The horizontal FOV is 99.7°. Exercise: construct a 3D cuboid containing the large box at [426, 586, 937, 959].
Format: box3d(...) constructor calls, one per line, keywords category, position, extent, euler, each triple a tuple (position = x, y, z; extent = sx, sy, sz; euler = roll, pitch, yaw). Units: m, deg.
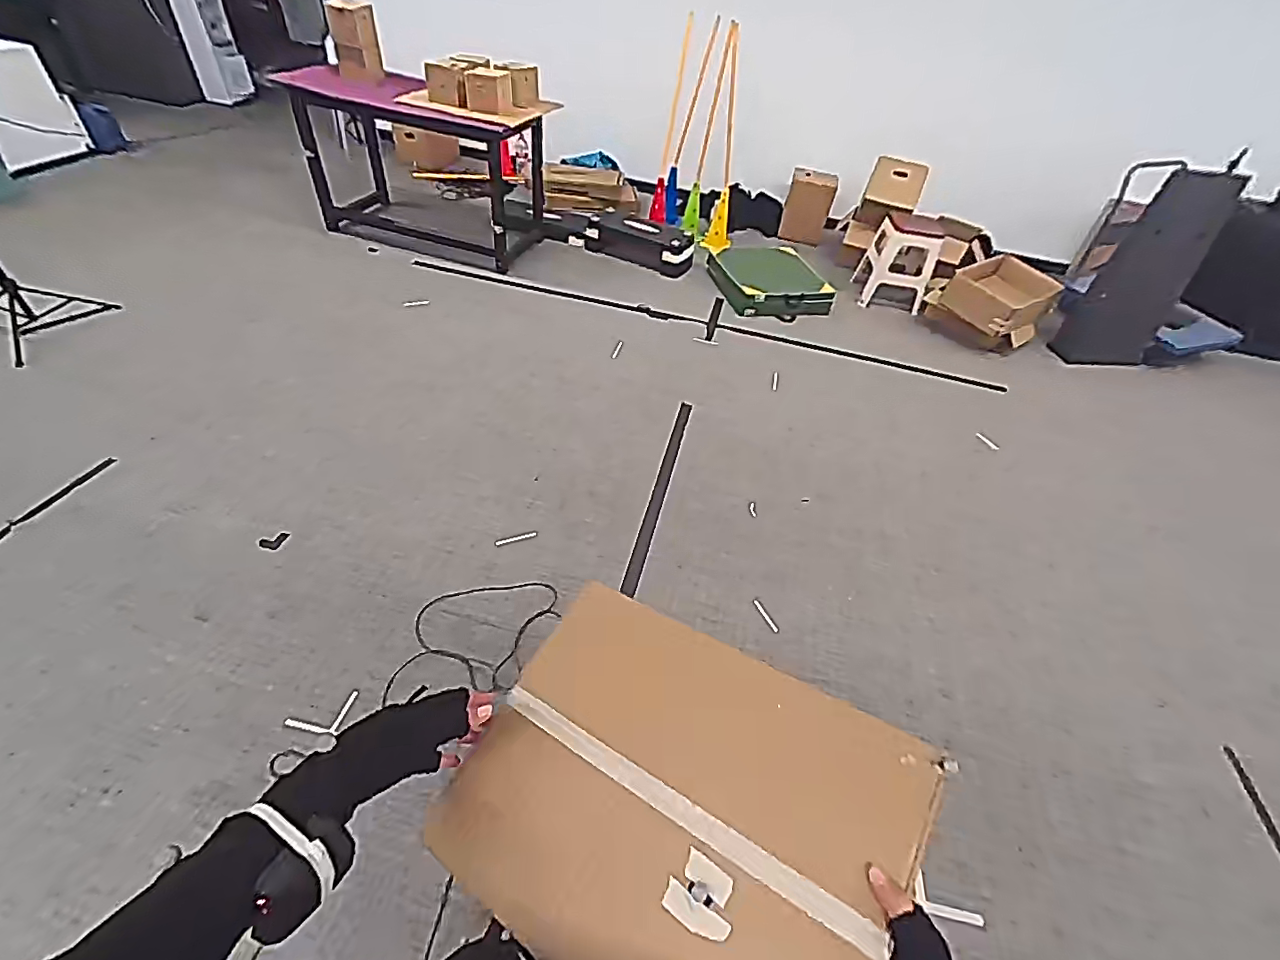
box3d(category="large box", position=(0.056, 0.388, 0.624), extent=(0.408, 0.320, 0.320), euler=(20, 61, 28))
